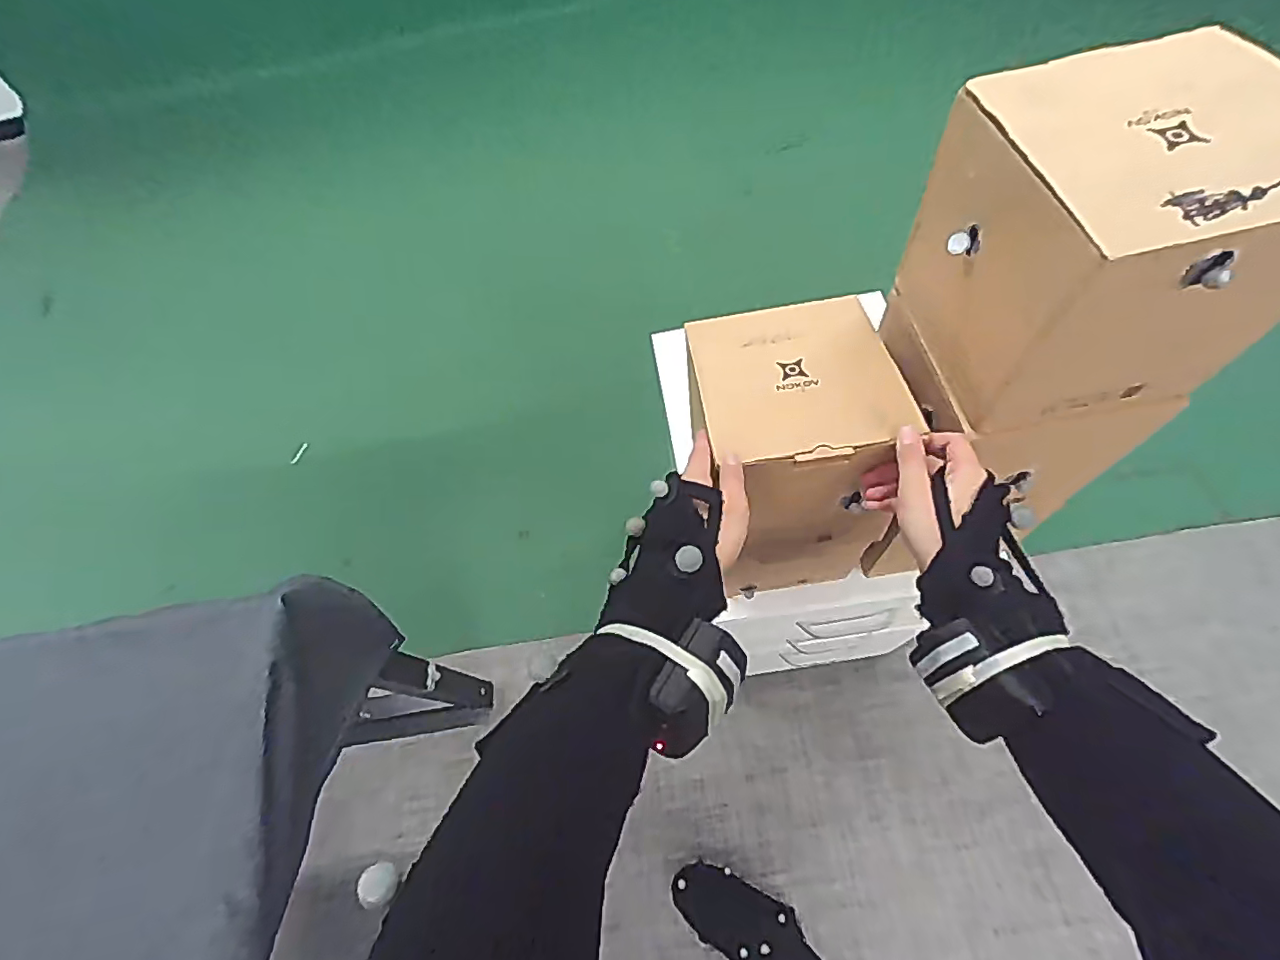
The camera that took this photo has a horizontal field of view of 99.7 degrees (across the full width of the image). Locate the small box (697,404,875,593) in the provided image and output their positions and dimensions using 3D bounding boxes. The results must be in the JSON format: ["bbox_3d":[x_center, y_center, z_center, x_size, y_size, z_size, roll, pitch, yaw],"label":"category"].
[{"bbox_3d":[0.167,0.033,0.677,0.168,0.176,0.179,-9,60,2],"label":"small box"}]

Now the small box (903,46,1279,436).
[{"bbox_3d":[0.315,-0.158,0.384,0.168,0.176,0.179,-11,60,3],"label":"small box"}]
